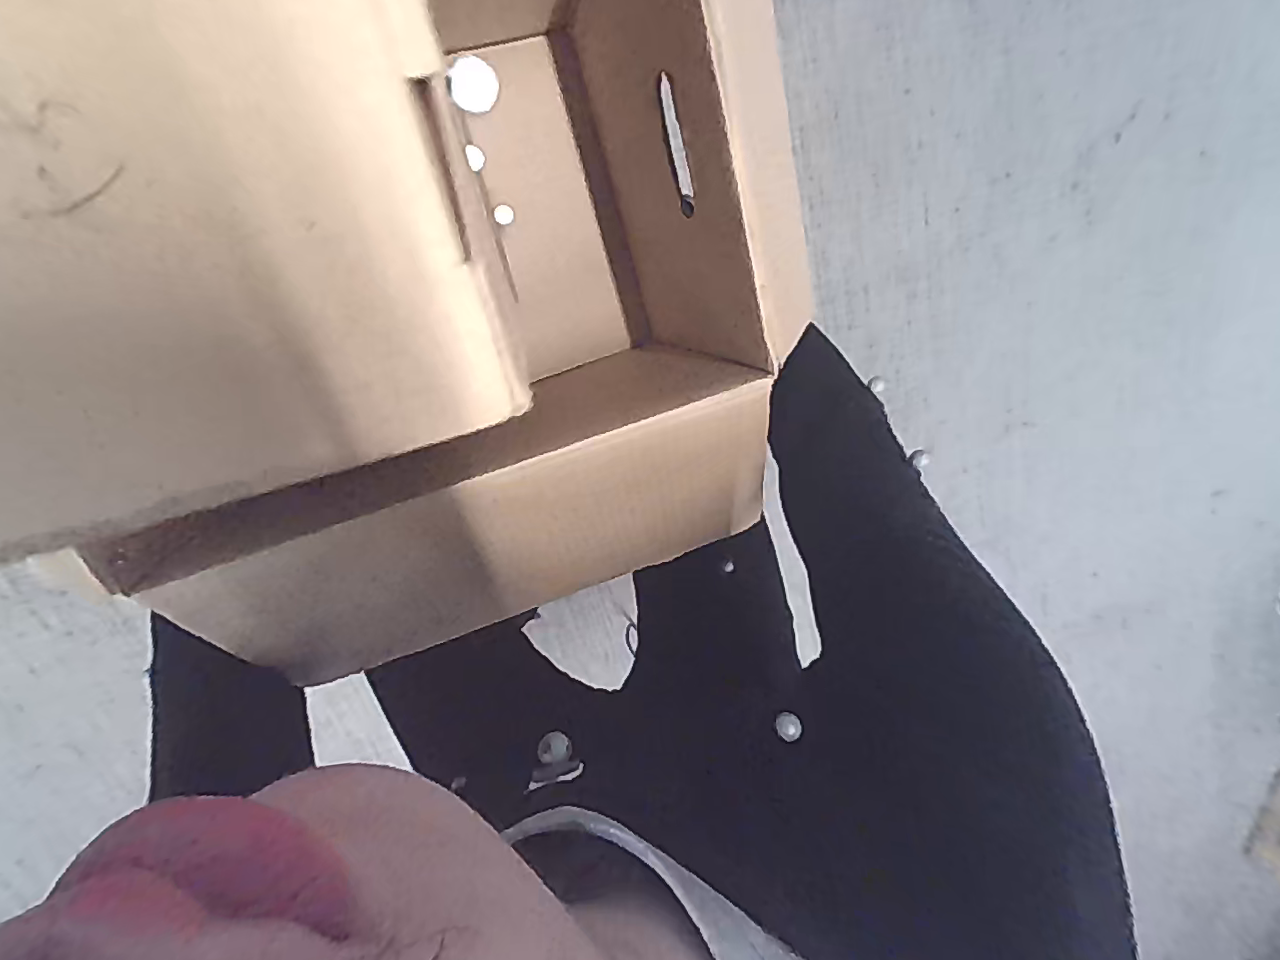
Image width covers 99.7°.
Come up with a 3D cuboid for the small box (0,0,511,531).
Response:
[{"bbox_3d":[-0.142,-0.093,0.136,0.179,0.176,0.168,-17,112,-7],"label":"small box"}]
